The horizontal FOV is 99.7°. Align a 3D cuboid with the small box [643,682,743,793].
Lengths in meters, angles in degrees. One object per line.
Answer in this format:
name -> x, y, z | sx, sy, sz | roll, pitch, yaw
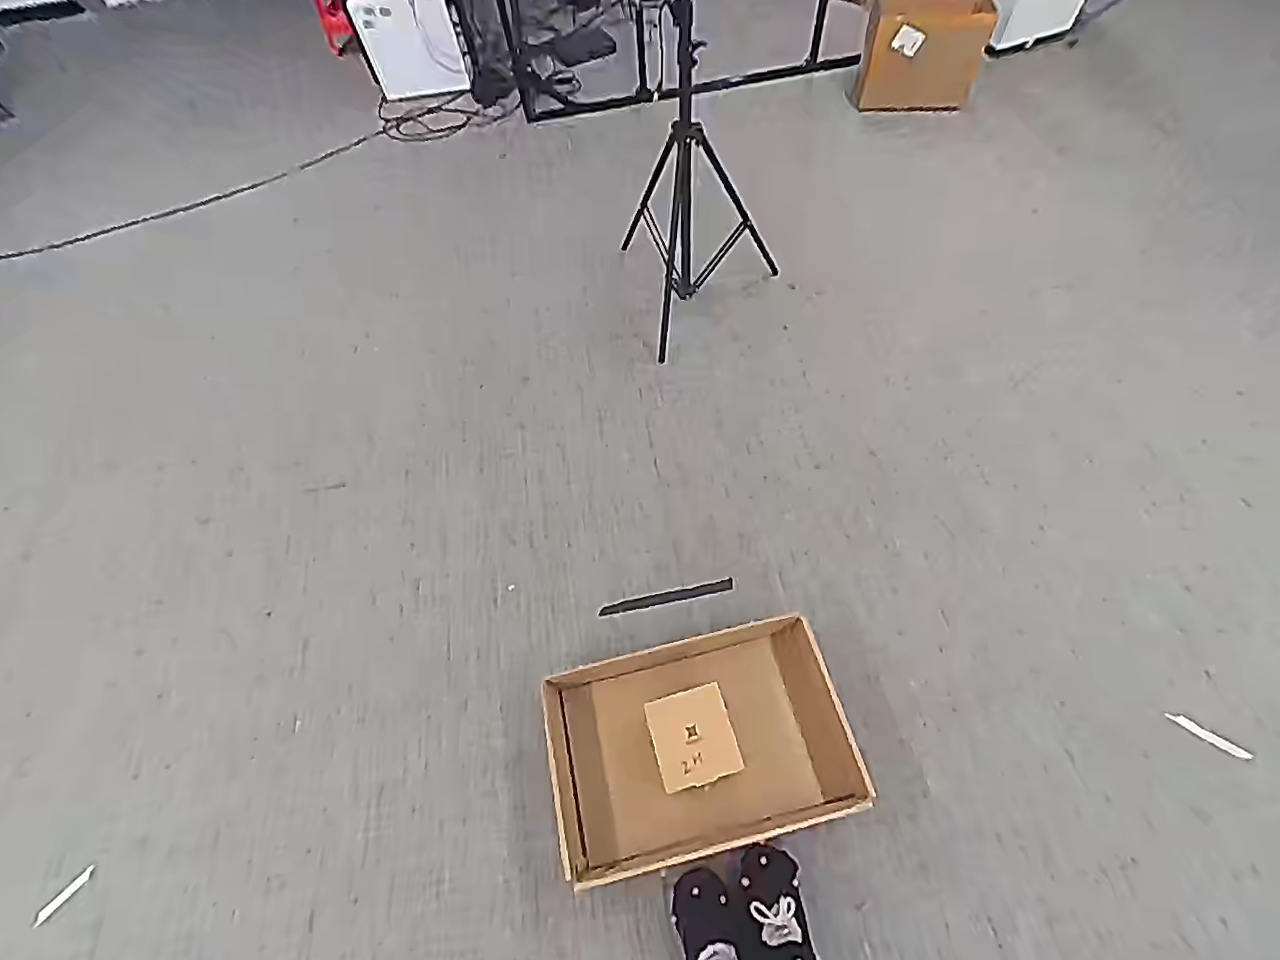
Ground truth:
small box -> 0.110, 0.561, 1.171 | 0.168, 0.176, 0.179 | -16, 61, -3
